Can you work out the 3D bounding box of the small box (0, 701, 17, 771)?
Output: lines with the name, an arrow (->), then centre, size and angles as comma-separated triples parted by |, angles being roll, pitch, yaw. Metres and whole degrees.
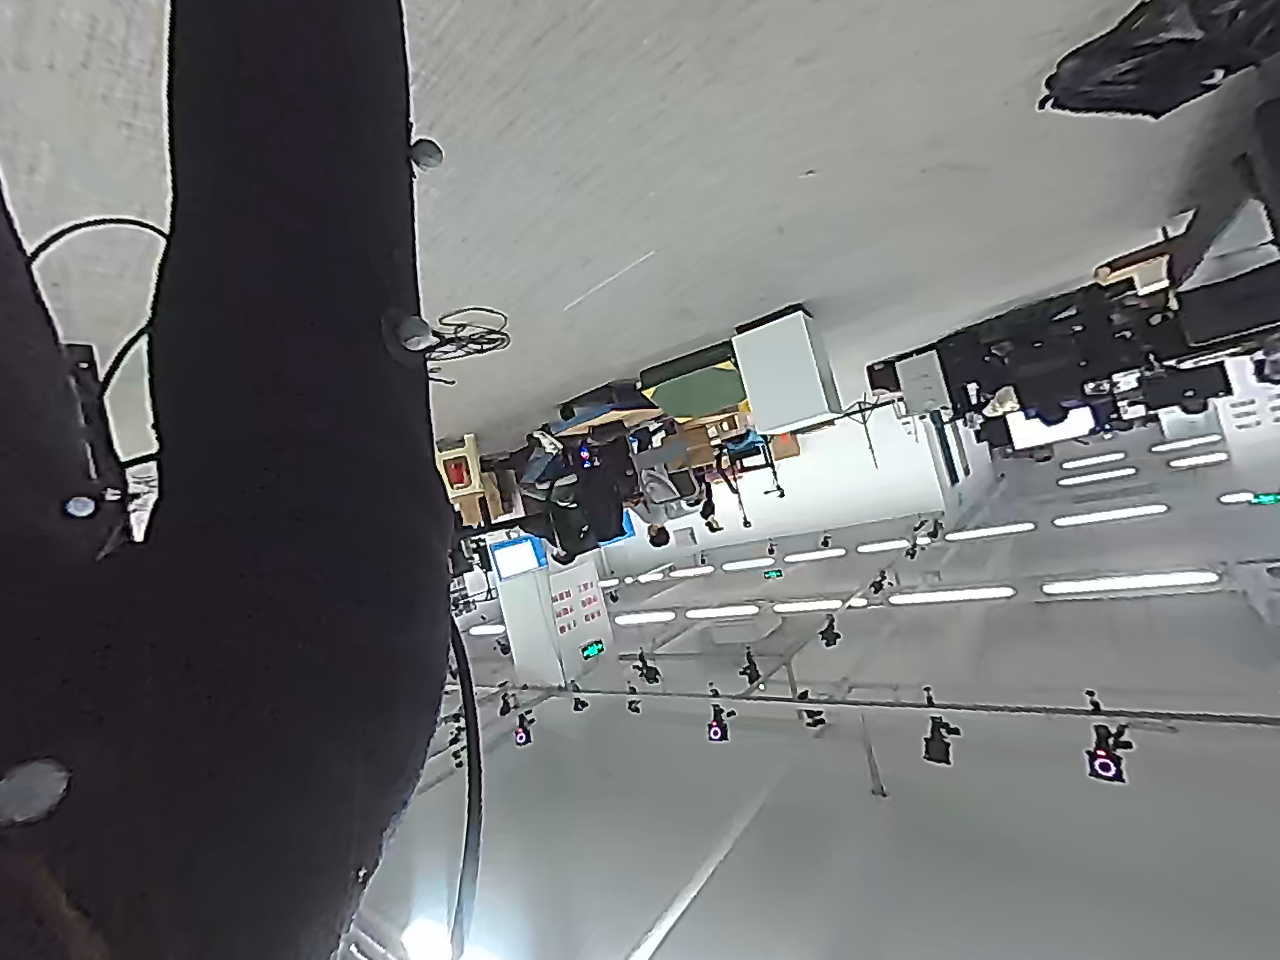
small box -> -1.657, 0.643, 1.300 | 0.179, 0.176, 0.168 | -12, 175, -45
